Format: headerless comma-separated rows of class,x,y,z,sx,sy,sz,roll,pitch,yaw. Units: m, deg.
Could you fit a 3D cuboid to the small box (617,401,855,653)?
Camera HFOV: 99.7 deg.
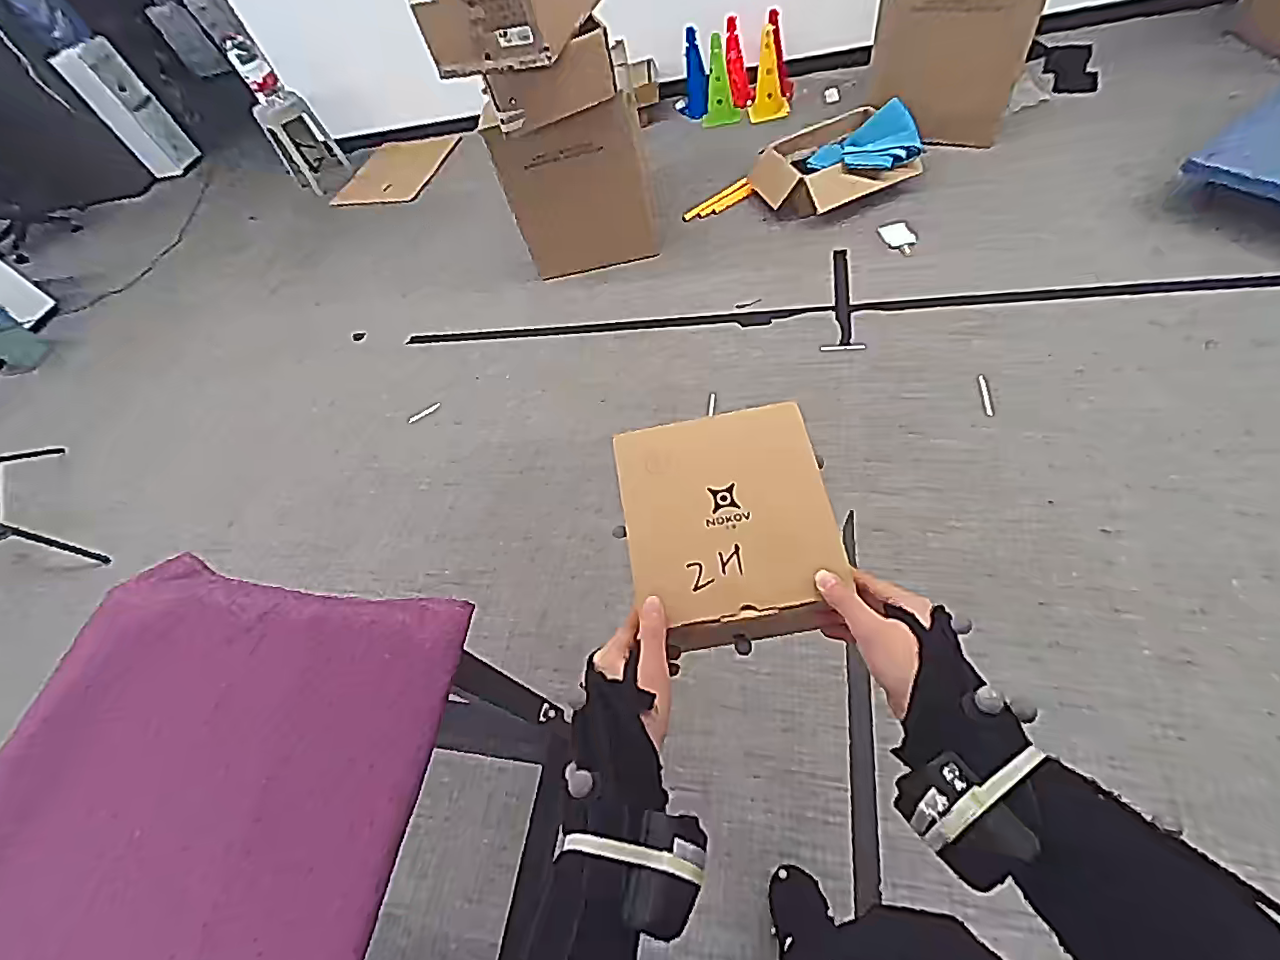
small box,0.078,0.054,0.511,0.168,0.176,0.179,-10,65,3
